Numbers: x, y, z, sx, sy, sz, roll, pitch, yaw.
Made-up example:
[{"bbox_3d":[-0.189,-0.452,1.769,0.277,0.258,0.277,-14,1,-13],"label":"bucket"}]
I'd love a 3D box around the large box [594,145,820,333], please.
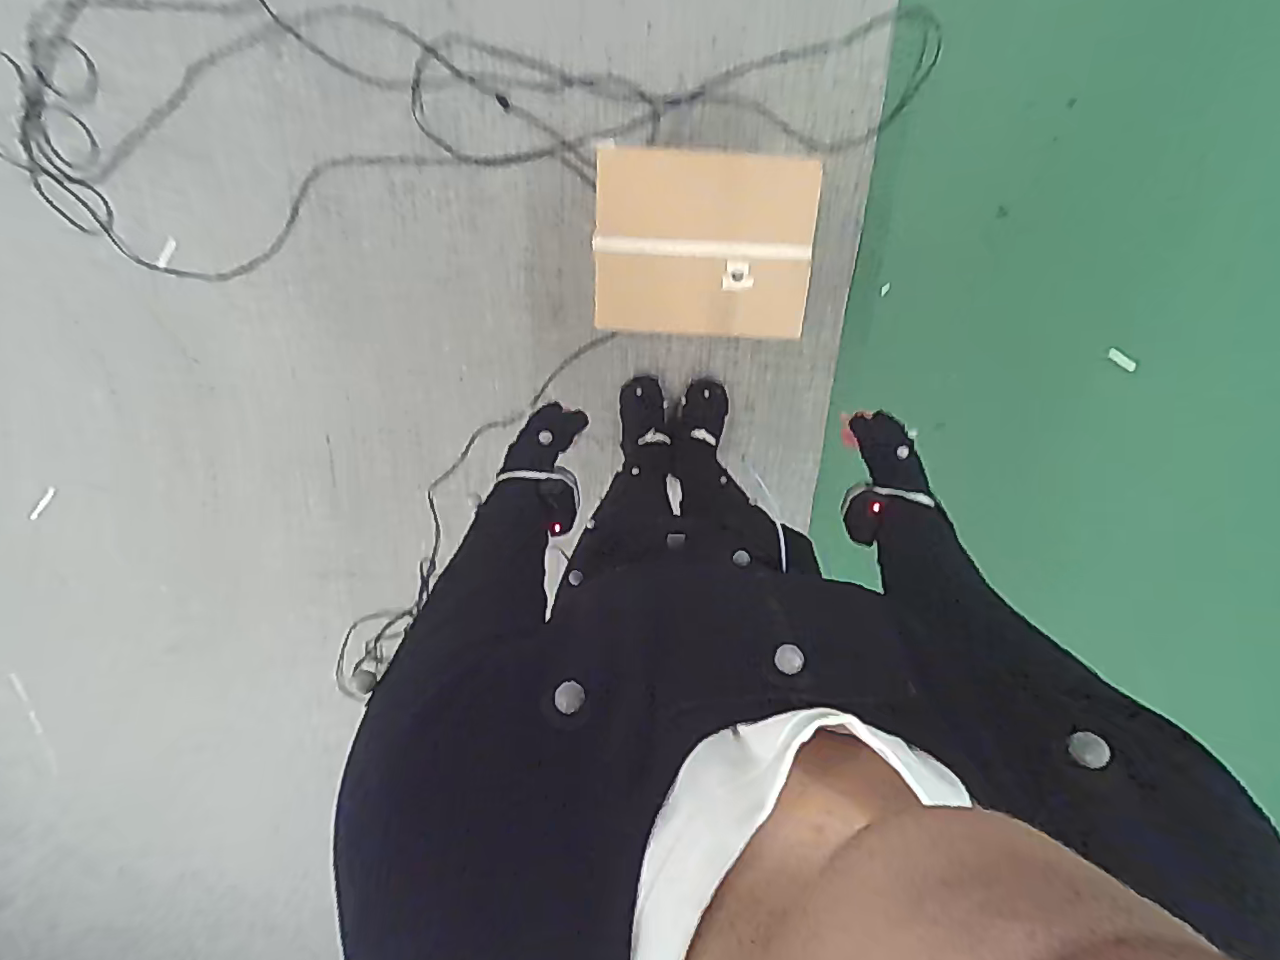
[{"bbox_3d":[0.112,-0.485,1.136,0.408,0.320,0.320,2,111,-1],"label":"large box"}]
